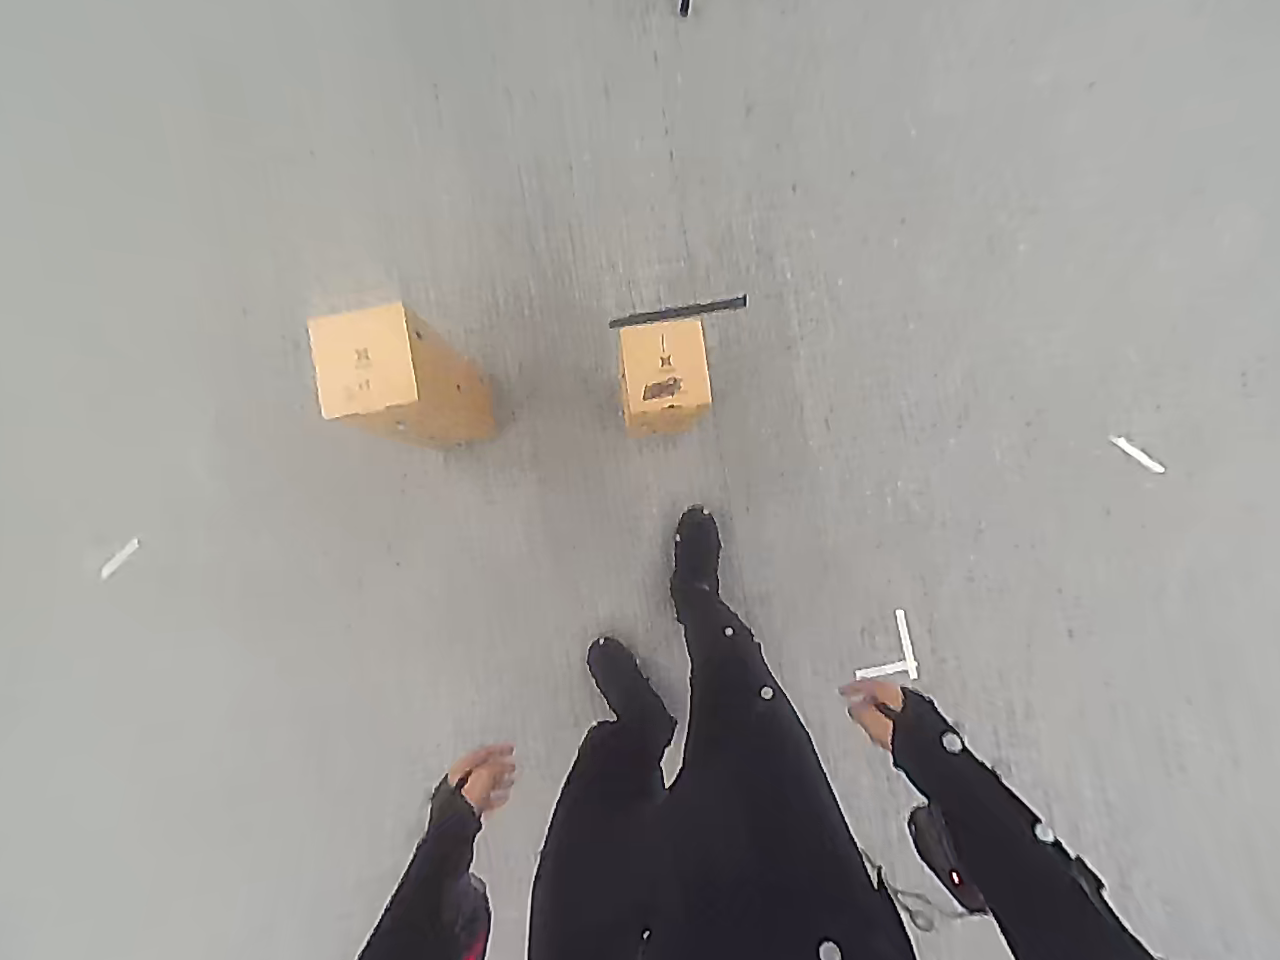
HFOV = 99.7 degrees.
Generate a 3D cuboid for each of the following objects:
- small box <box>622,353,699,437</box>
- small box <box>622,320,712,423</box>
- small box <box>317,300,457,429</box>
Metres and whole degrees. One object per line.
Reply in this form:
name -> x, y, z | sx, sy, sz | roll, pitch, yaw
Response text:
small box -> 0.045, -0.209, 1.322 | 0.168, 0.176, 0.179 | -6, 87, -1
small box -> 0.054, -0.222, 1.158 | 0.168, 0.176, 0.179 | -7, 86, -2
small box -> -0.451, -0.202, 0.987 | 0.168, 0.176, 0.179 | -10, 87, 0
